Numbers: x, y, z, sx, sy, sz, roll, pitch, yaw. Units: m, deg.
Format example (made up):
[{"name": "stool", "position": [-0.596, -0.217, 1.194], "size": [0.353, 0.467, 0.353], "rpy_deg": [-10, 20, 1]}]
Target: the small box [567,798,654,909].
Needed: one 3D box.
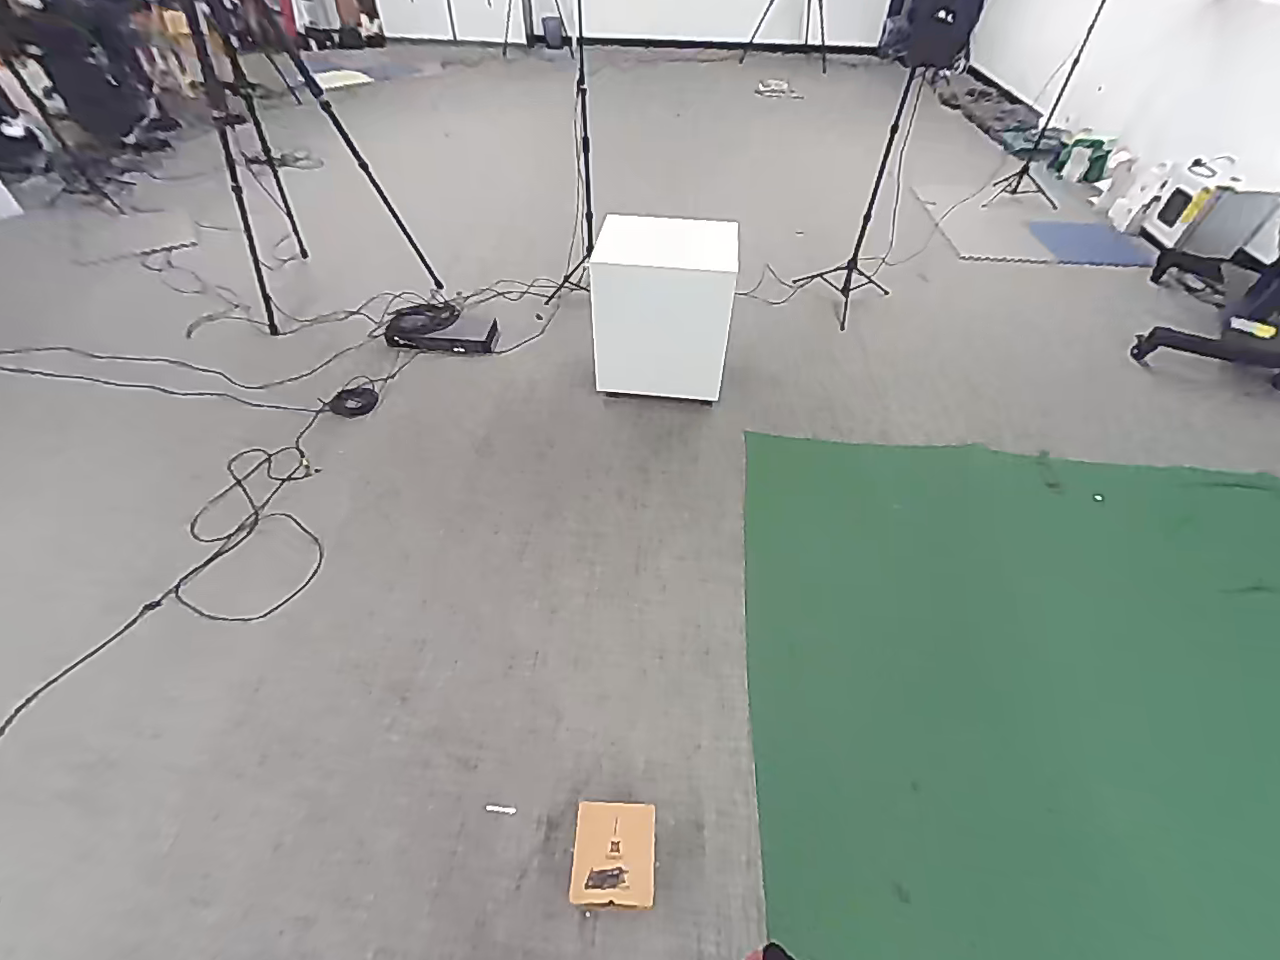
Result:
[{"name": "small box", "position": [-0.056, 0.802, 1.158], "size": [0.168, 0.176, 0.179], "rpy_deg": [3, 48, 1]}]
